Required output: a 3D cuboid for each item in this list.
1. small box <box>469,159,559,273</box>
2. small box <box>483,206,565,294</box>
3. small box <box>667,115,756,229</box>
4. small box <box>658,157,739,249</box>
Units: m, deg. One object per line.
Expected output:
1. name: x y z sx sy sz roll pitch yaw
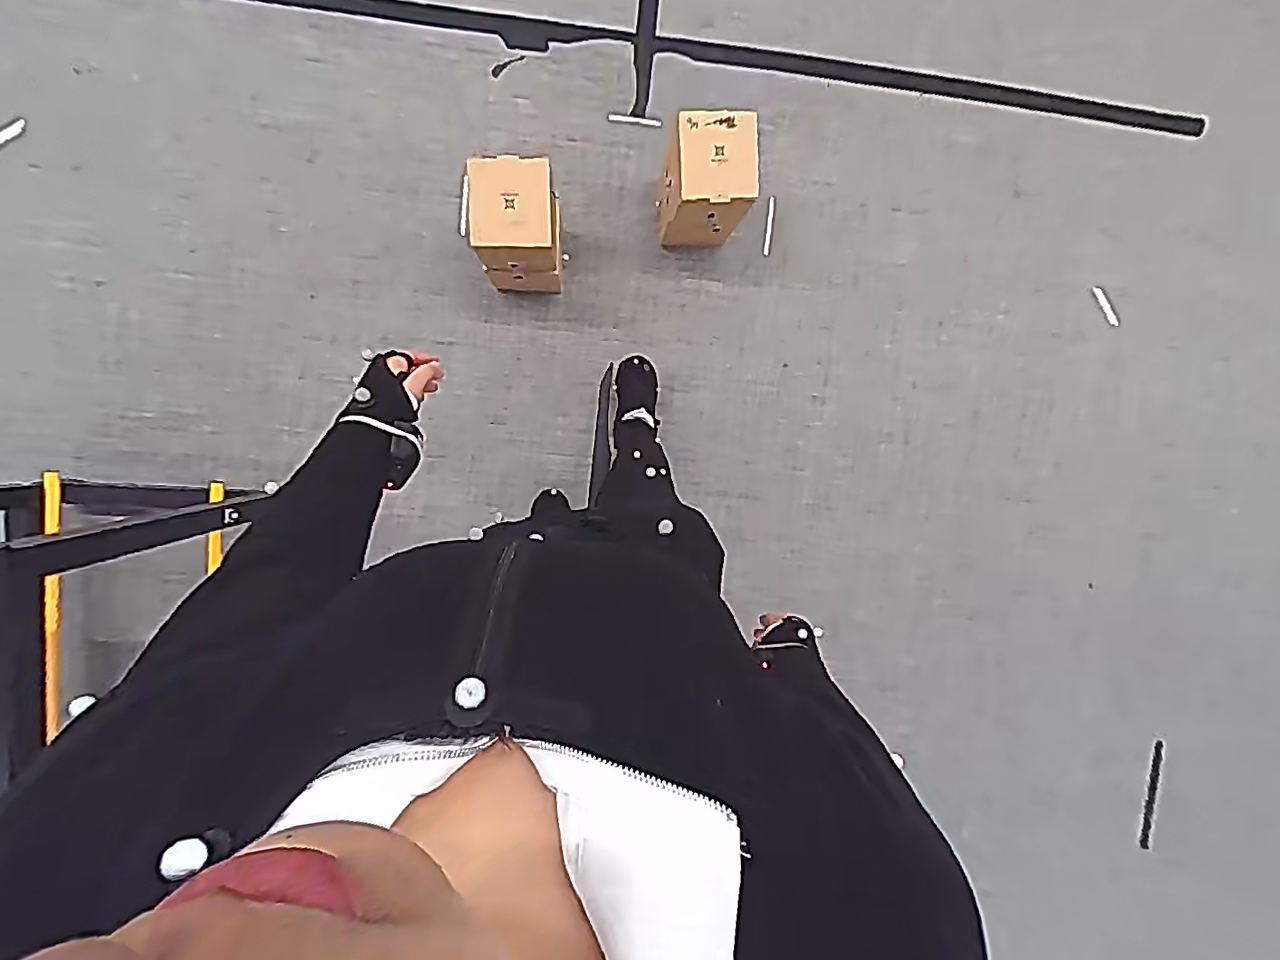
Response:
1. small box: -0.266 -0.562 1.169 0.168 0.176 0.179 -2 96 -3
2. small box: -0.281 -0.565 1.332 0.179 0.176 0.168 2 95 -5
3. small box: 0.153 -0.670 1.197 0.168 0.176 0.179 -3 96 -5
4. small box: 0.142 -0.693 1.358 0.179 0.176 0.168 -1 95 -5
